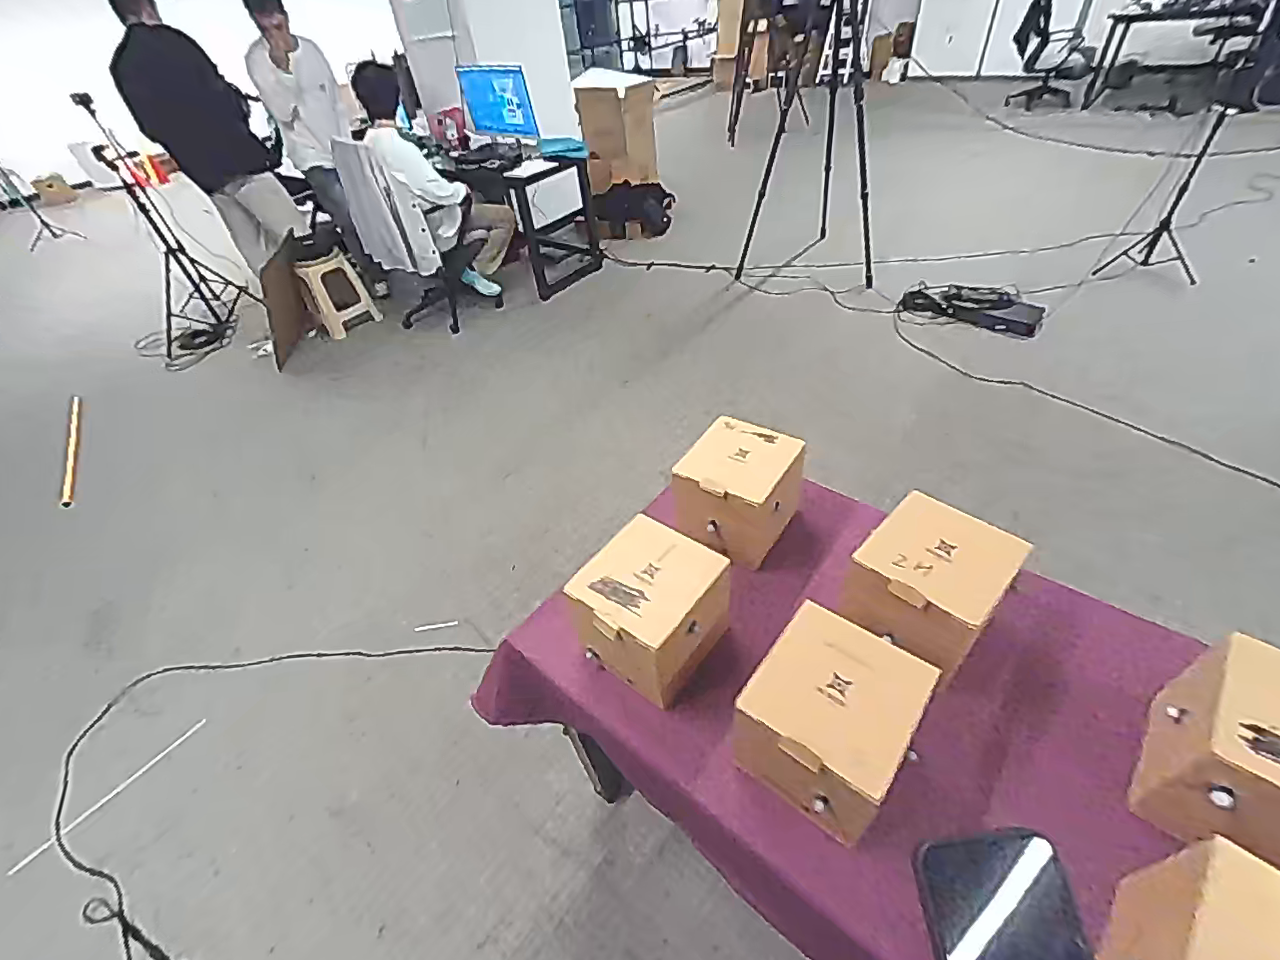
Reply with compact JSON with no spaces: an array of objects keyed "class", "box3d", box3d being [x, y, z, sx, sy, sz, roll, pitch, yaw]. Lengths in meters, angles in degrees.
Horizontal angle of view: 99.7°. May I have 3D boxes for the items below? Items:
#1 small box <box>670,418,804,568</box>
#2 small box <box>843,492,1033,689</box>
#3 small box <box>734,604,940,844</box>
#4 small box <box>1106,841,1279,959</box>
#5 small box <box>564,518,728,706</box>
[{"class":"small box","box3d":[0.174,0.024,0.957,0.168,0.176,0.179,23,52,29]},{"class":"small box","box3d":[0.412,0.156,0.775,0.179,0.176,0.168,-36,49,-26]},{"class":"small box","box3d":[0.231,0.295,0.658,0.168,0.176,0.179,27,52,31]},{"class":"small box","box3d":[0.514,0.451,0.441,0.168,0.176,0.179,31,56,35]},{"class":"small box","box3d":[0.018,0.195,0.800,0.168,0.176,0.179,25,51,31]}]
